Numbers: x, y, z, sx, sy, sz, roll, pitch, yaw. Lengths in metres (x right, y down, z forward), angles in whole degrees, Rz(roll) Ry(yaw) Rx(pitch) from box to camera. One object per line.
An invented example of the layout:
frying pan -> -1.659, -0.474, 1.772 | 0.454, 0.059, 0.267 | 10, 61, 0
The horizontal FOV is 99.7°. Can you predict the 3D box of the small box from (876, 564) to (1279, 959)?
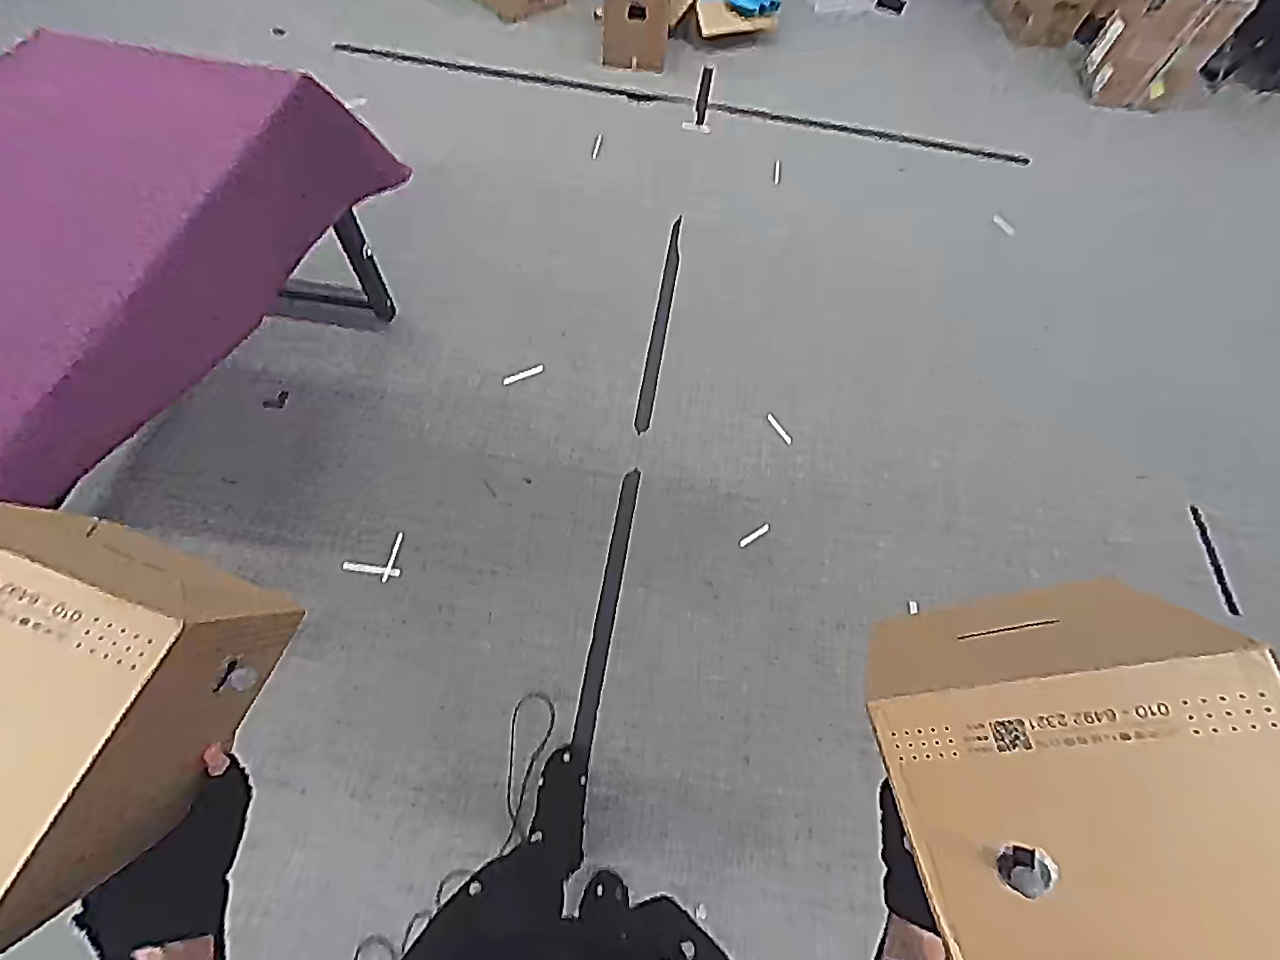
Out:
small box -> 0.248, 0.157, 0.317 | 0.168, 0.179, 0.176 | -18, 83, 23
